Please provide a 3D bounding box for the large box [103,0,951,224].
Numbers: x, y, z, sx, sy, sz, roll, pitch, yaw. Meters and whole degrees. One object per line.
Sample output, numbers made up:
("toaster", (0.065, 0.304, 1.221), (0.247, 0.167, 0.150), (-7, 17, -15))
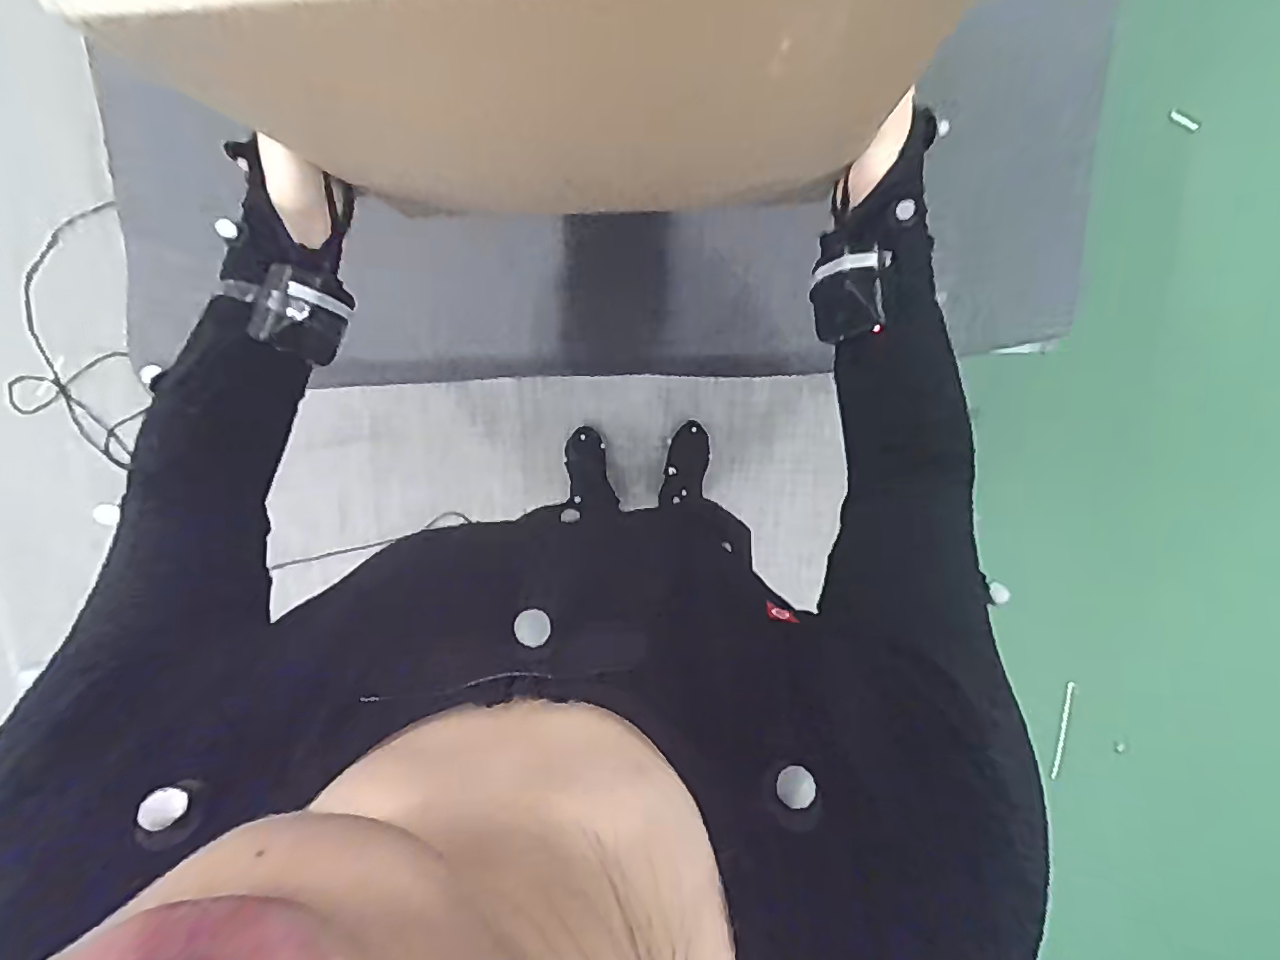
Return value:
("large box", (-0.046, -0.385, 0.358), (0.408, 0.320, 0.320), (-1, 101, 4))
